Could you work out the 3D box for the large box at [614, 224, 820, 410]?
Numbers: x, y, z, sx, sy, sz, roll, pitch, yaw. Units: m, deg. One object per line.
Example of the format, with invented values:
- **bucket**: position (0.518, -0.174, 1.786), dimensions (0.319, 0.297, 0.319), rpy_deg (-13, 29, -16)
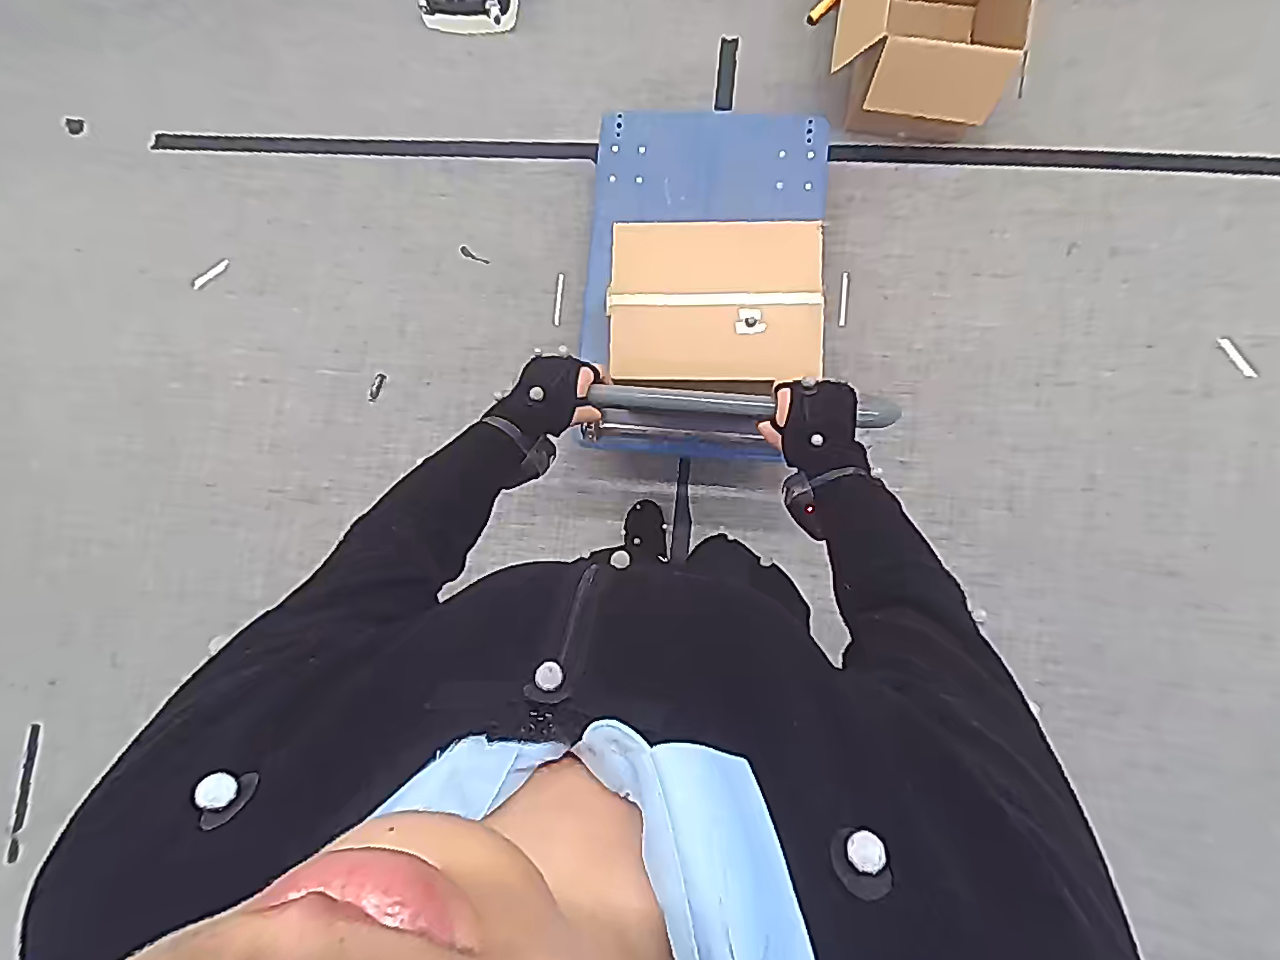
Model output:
- **large box**: position (0.153, -0.337, 1.199), dimensions (0.408, 0.320, 0.320), rpy_deg (1, 87, 3)
